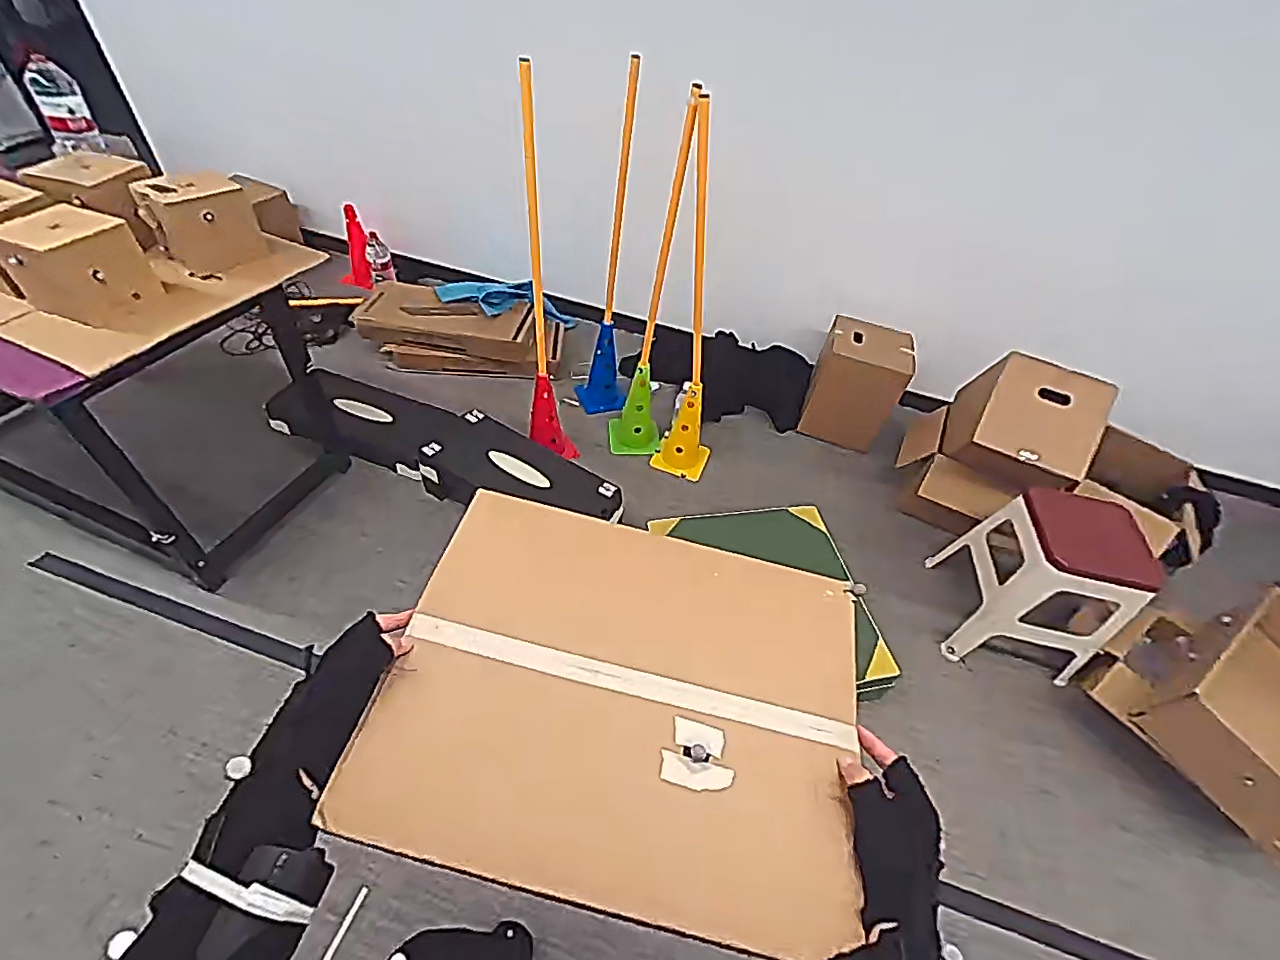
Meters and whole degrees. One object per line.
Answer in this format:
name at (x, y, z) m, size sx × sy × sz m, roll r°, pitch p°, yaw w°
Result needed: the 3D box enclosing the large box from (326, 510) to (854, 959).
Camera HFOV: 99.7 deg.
large box at (-0.030, 0.282, 0.597) m, size 0.408 × 0.320 × 0.320 m, roll 15°, pitch 53°, yaw 2°
